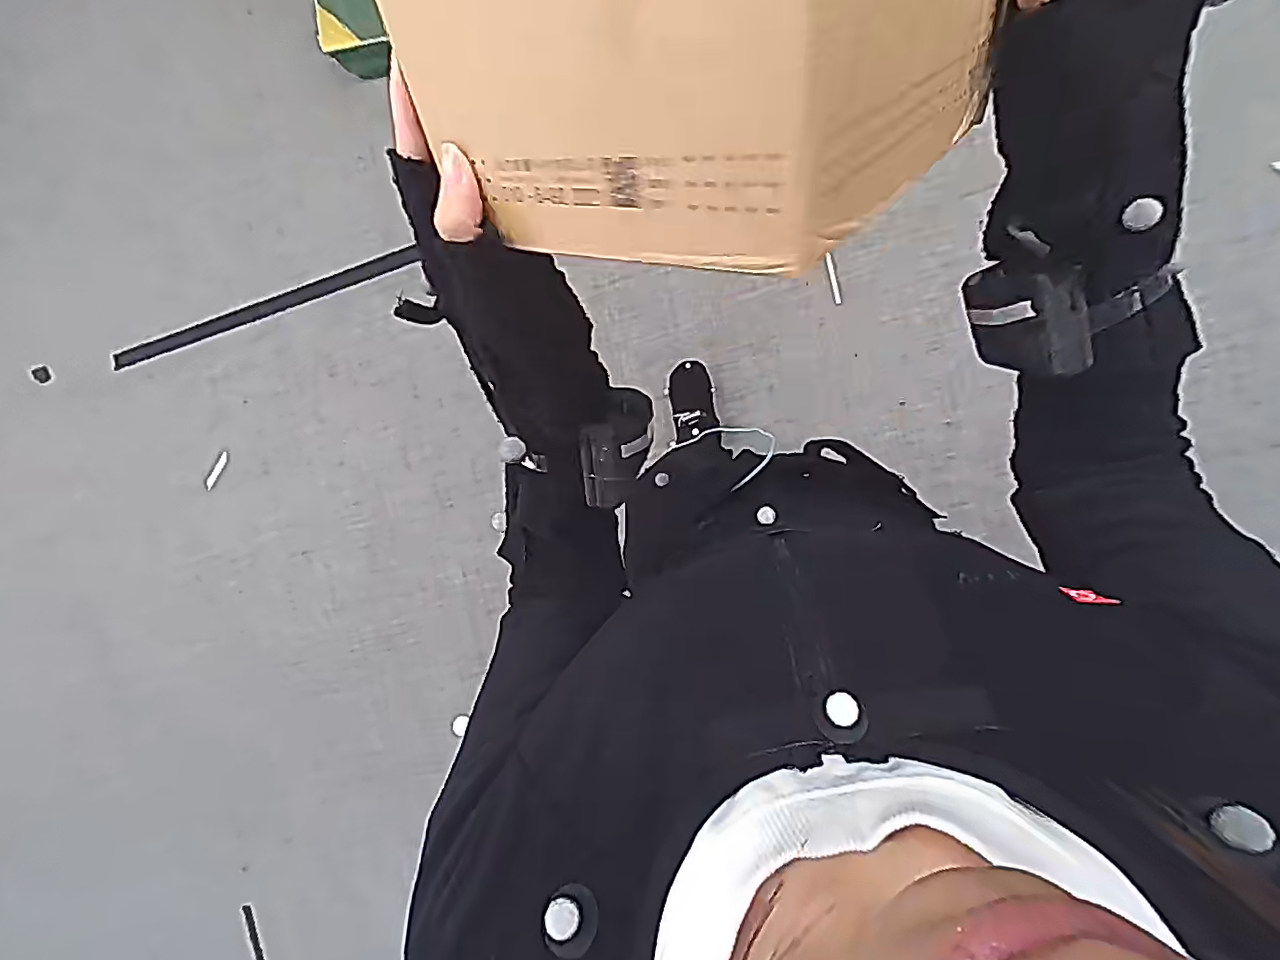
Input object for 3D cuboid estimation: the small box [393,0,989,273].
[{"bbox_3d":[0.021,-0.192,0.197,0.168,0.179,0.176,25,142,36],"label":"small box"}]
